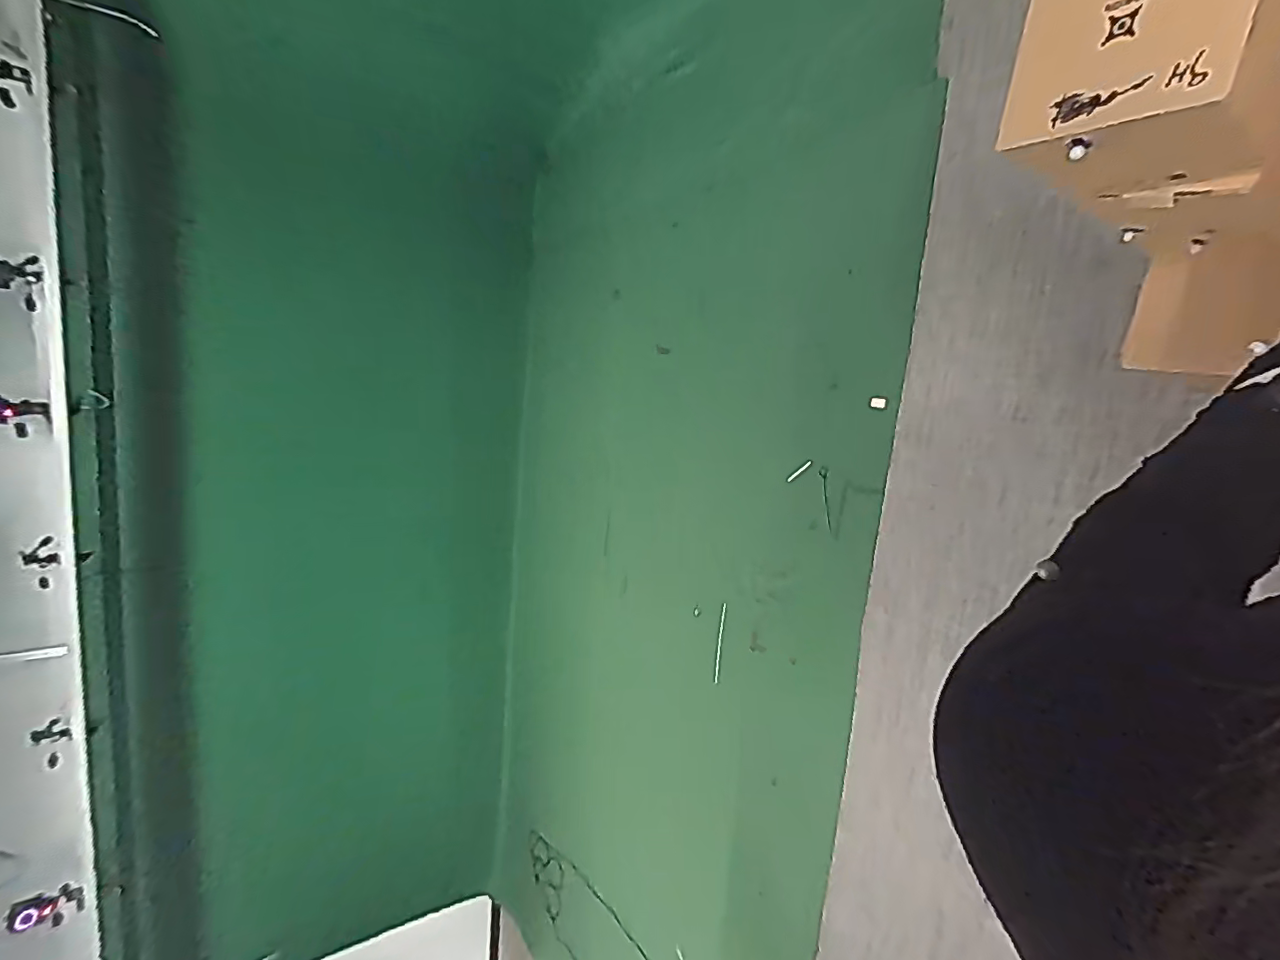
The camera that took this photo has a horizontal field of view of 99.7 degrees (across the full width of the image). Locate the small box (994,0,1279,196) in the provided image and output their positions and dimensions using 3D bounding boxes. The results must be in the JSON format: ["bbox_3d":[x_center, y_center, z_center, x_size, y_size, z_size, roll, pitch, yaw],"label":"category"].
[{"bbox_3d":[0.473,-0.390,0.497,0.168,0.176,0.179,26,111,55],"label":"small box"}]

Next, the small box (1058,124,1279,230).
[{"bbox_3d":[0.612,-0.382,0.586,0.168,0.176,0.179,36,118,51],"label":"small box"}]

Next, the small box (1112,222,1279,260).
[{"bbox_3d":[0.752,-0.378,0.672,0.179,0.176,0.168,33,117,51],"label":"small box"}]
